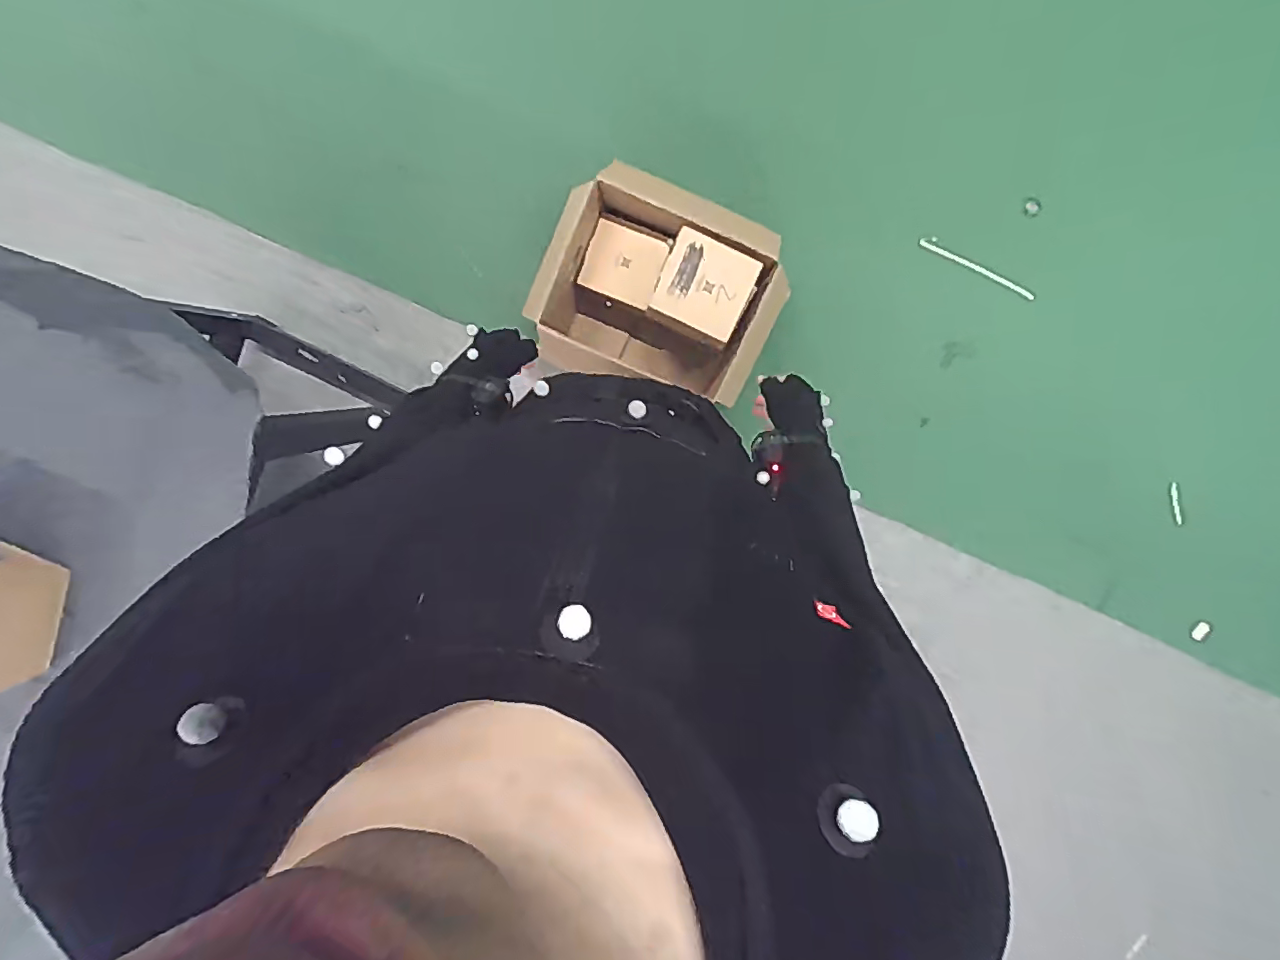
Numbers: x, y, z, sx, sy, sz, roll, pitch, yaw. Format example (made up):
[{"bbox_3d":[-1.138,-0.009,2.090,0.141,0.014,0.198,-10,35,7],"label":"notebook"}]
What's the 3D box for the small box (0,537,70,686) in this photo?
[{"bbox_3d":[-0.947,0.193,0.734,0.168,0.176,0.179,24,100,-1],"label":"small box"}]
